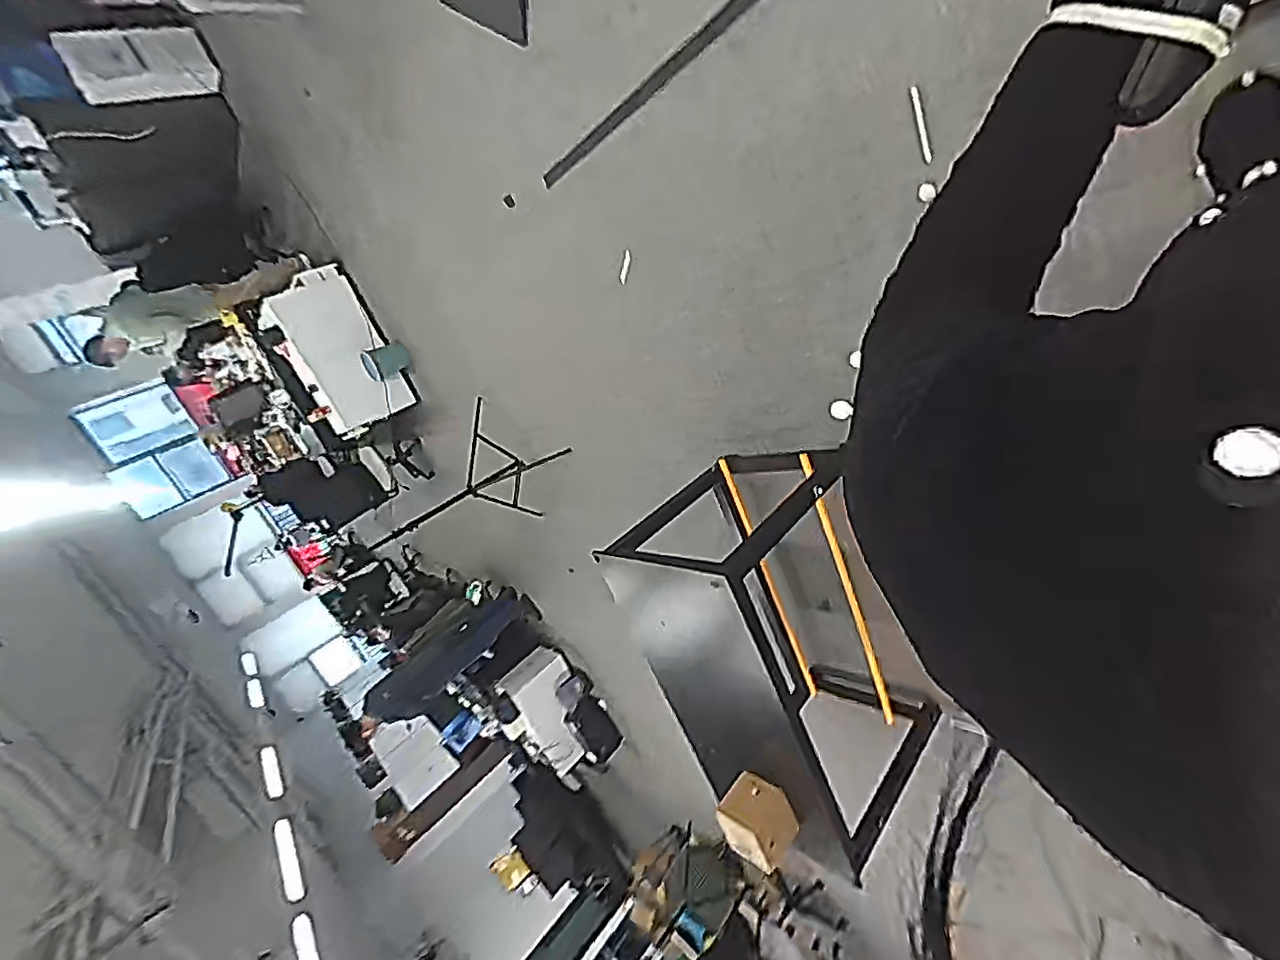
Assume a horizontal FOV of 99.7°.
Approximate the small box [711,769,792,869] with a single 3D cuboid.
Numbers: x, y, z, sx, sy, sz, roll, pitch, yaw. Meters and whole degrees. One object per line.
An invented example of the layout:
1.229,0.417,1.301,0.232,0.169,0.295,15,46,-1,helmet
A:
0.365,1.090,1.751,0.168,0.176,0.179,-1,117,52,small box
